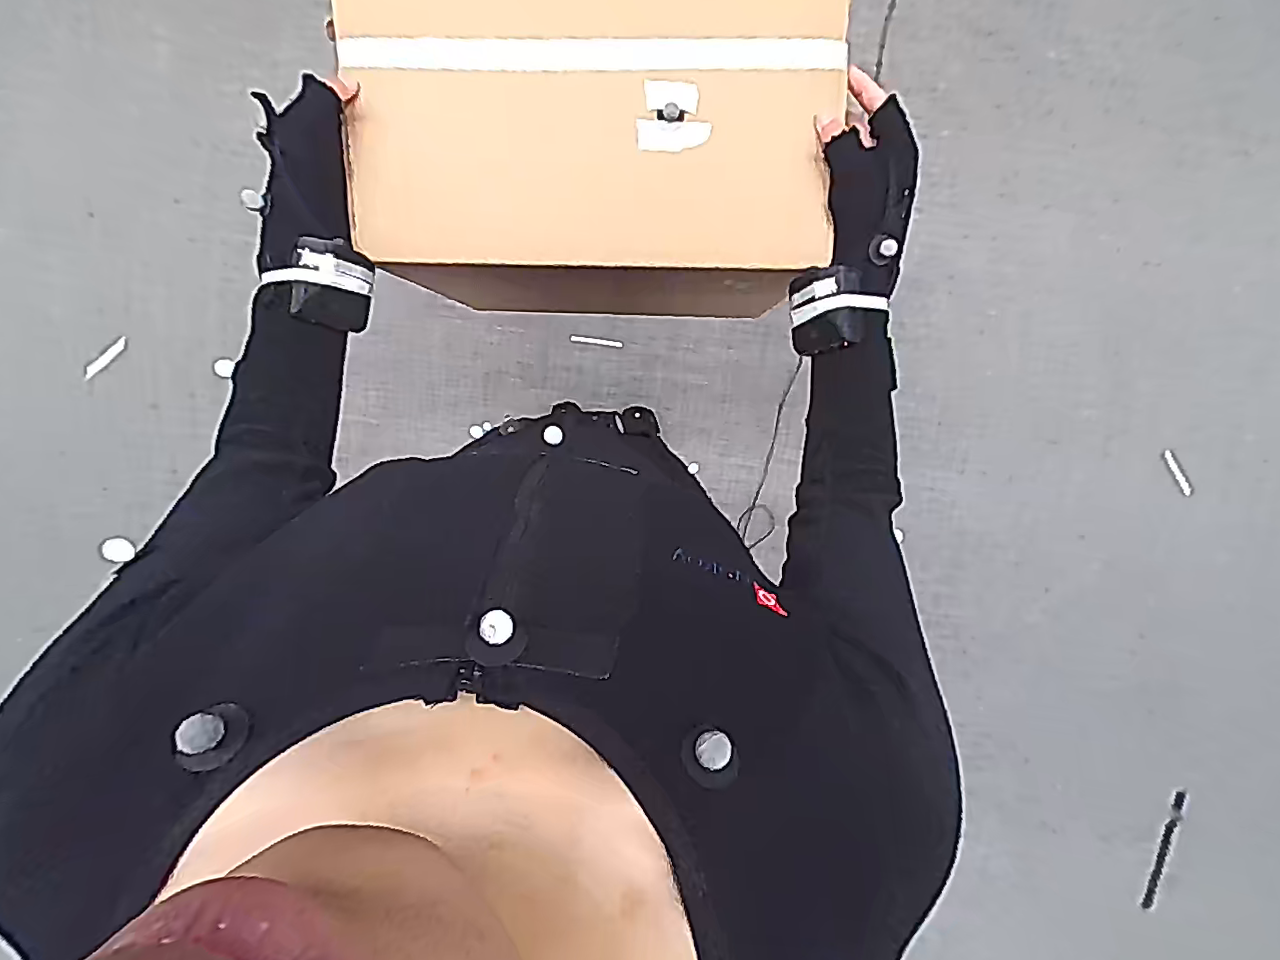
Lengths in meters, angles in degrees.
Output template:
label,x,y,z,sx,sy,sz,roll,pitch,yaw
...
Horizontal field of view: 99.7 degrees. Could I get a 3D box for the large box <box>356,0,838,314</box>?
label,x,y,z,sx,sy,sz,roll,pitch,yaw
large box,-0.037,-0.365,0.597,0.408,0.320,0.320,1,100,1
